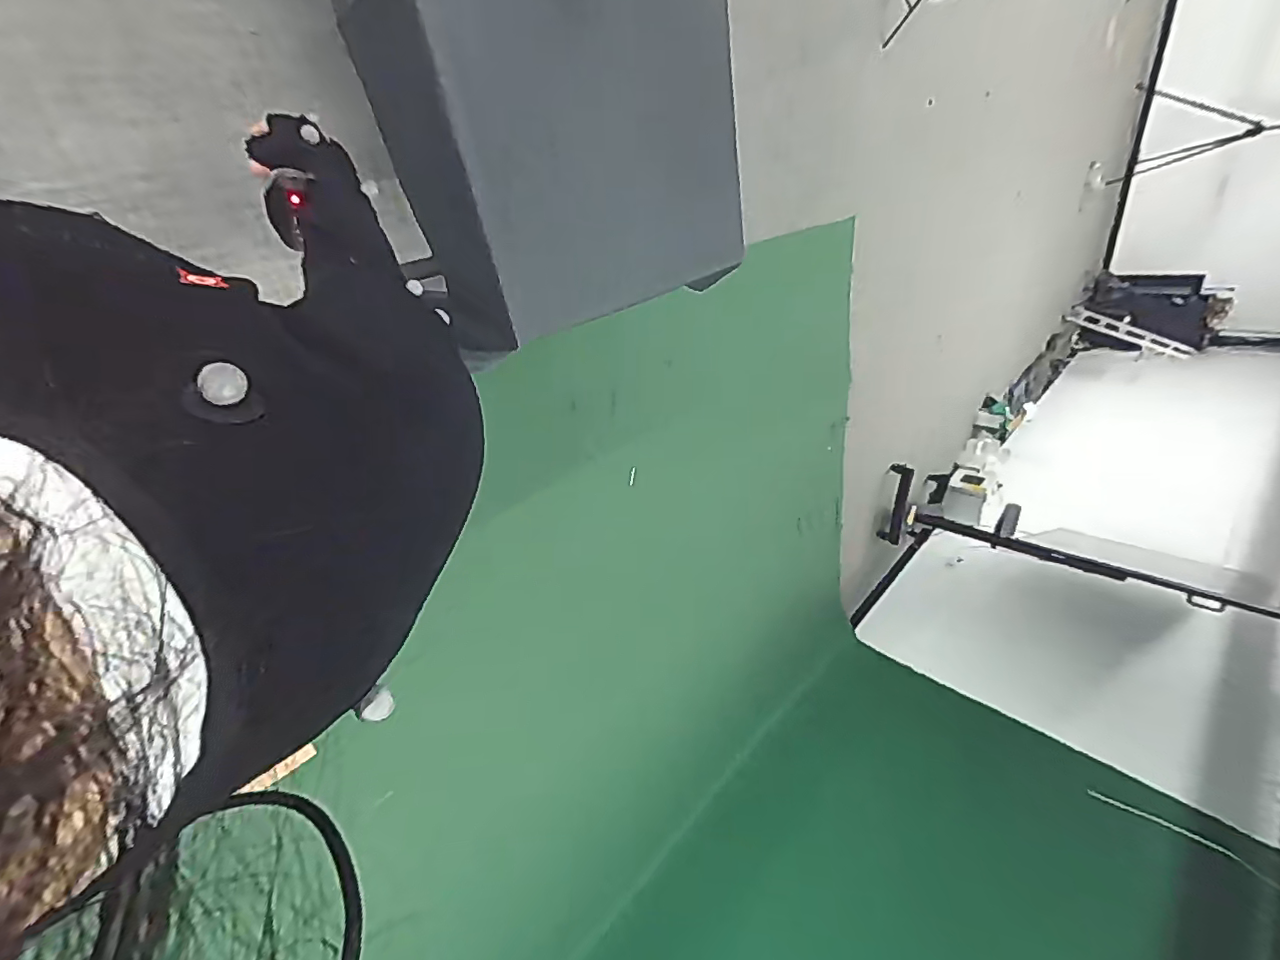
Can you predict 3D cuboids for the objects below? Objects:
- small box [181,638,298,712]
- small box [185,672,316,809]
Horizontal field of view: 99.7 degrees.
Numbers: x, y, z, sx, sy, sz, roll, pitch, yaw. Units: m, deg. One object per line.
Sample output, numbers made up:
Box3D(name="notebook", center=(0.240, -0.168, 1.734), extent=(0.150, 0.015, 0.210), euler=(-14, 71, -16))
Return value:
Box3D(name="small box", center=(-0.972, 0.509, 1.309), extent=(0.168, 0.176, 0.179), euler=(-28, 124, -36))
Box3D(name="small box", center=(-0.862, 0.565, 1.199), extent=(0.179, 0.176, 0.168), euler=(-29, 124, -35))
